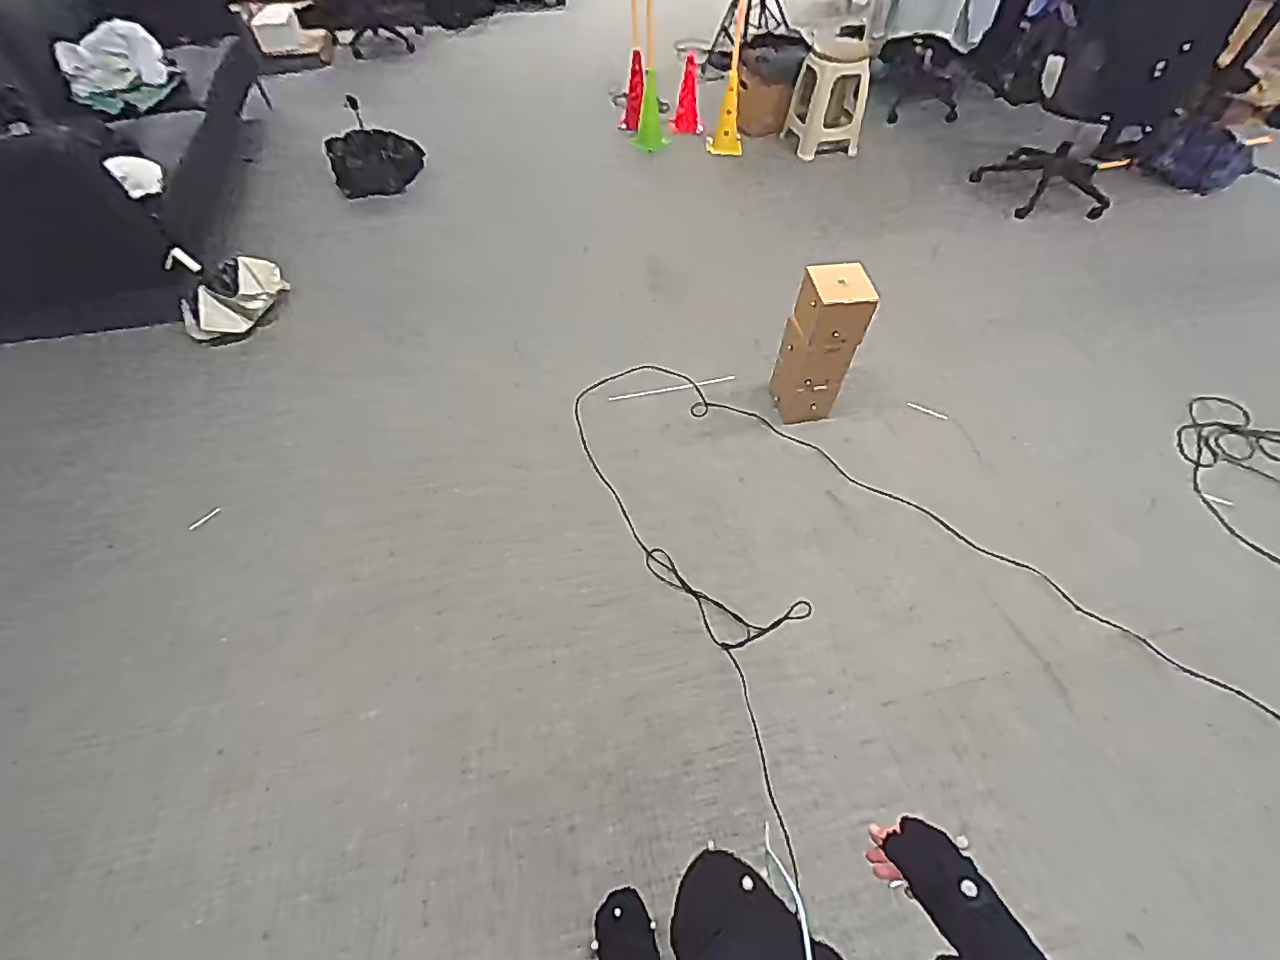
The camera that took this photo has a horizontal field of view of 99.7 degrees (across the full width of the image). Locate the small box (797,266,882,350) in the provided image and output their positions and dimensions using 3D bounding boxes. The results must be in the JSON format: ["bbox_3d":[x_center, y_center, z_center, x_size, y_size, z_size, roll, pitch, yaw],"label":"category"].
[{"bbox_3d":[0.583,-0.511,1.609,0.168,0.176,0.179,-5,56,-3],"label":"small box"}]

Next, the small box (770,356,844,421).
[{"bbox_3d":[0.572,-0.320,1.877,0.168,0.176,0.179,-10,58,-10],"label":"small box"}]

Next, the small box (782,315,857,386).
[{"bbox_3d":[0.575,-0.419,1.743,0.168,0.176,0.179,-9,55,-6],"label":"small box"}]
